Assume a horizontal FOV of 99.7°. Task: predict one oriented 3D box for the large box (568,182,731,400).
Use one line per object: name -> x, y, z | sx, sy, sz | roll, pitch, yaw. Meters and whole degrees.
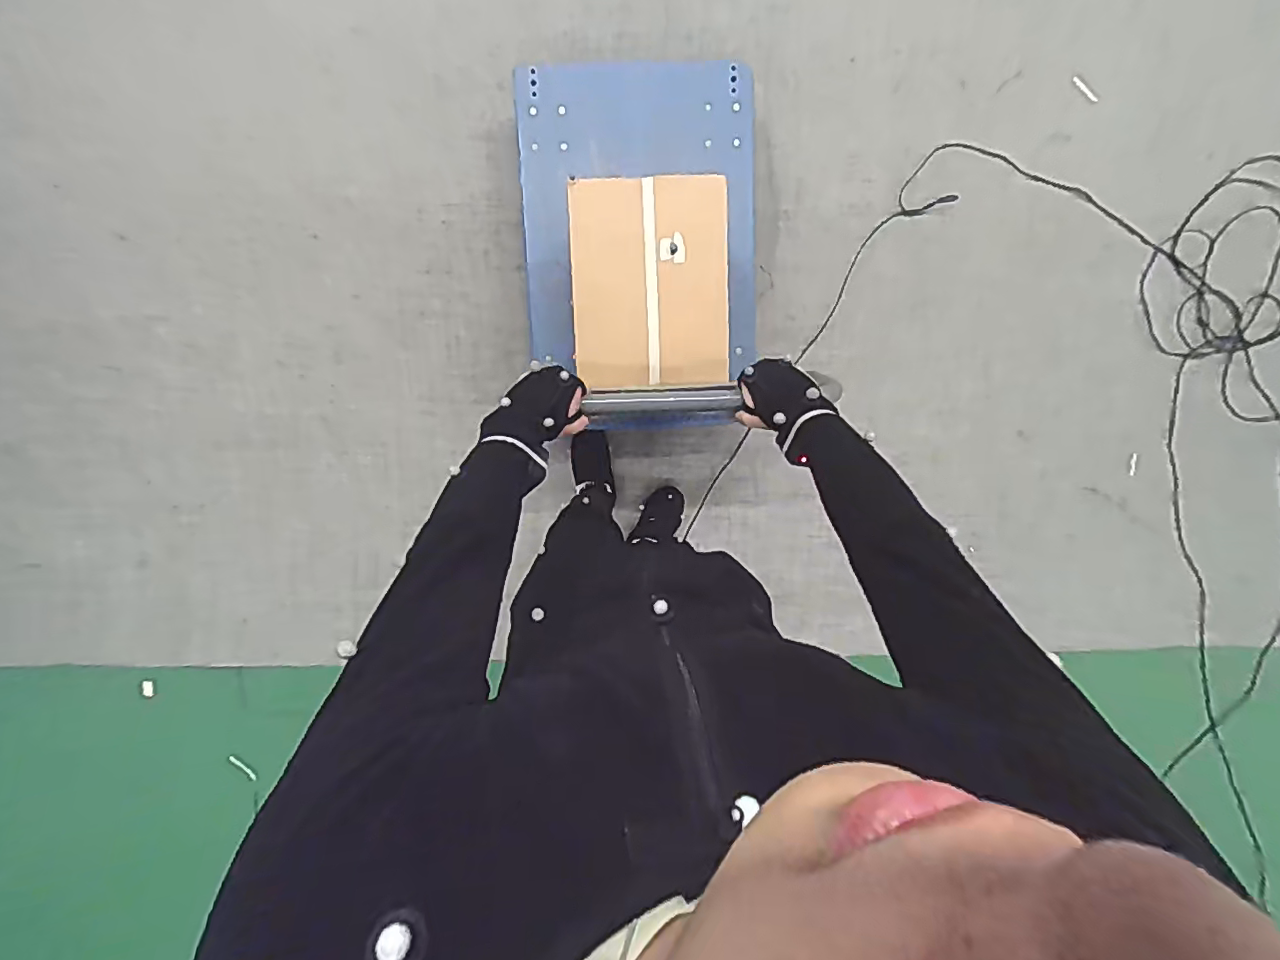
large box -> 0.019, -0.395, 1.224 | 0.320, 0.320, 0.408 | -3, 97, -2
